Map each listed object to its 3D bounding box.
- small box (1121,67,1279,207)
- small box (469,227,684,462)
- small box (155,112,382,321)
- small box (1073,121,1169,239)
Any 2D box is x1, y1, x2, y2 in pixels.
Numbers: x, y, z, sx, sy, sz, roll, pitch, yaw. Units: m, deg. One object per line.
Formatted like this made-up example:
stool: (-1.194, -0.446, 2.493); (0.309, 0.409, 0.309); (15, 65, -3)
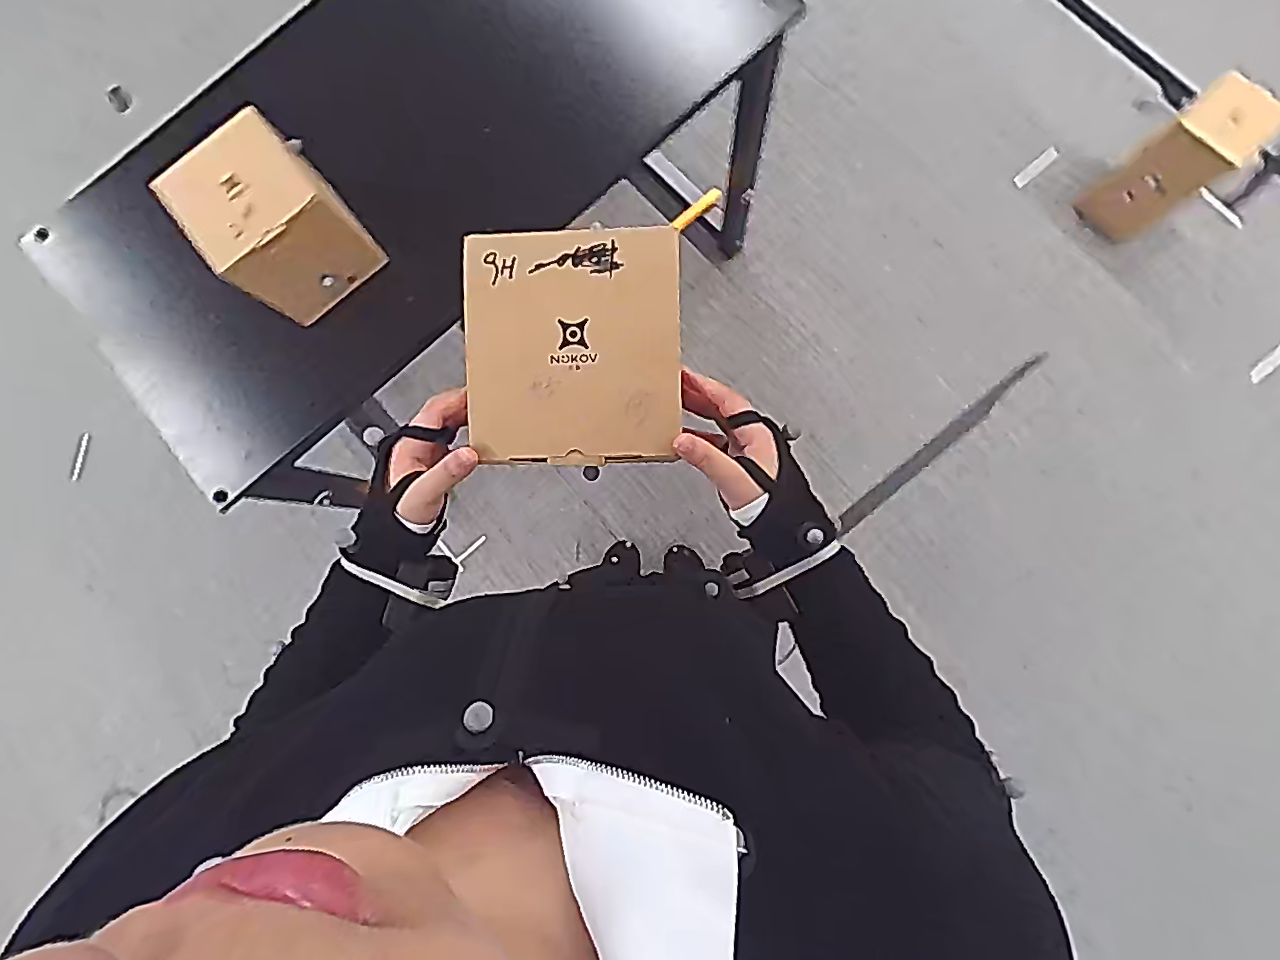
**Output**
small box: (1.300, -0.792, 1.264); (0.179, 0.176, 0.168); (-45, 81, 0)
small box: (-0.044, -0.106, 0.491); (0.168, 0.176, 0.179); (0, 92, 3)
small box: (-0.524, -0.368, 0.786); (0.168, 0.176, 0.179); (-40, 82, 0)
small box: (1.313, -0.779, 1.425); (0.168, 0.176, 0.179); (-43, 83, -1)
